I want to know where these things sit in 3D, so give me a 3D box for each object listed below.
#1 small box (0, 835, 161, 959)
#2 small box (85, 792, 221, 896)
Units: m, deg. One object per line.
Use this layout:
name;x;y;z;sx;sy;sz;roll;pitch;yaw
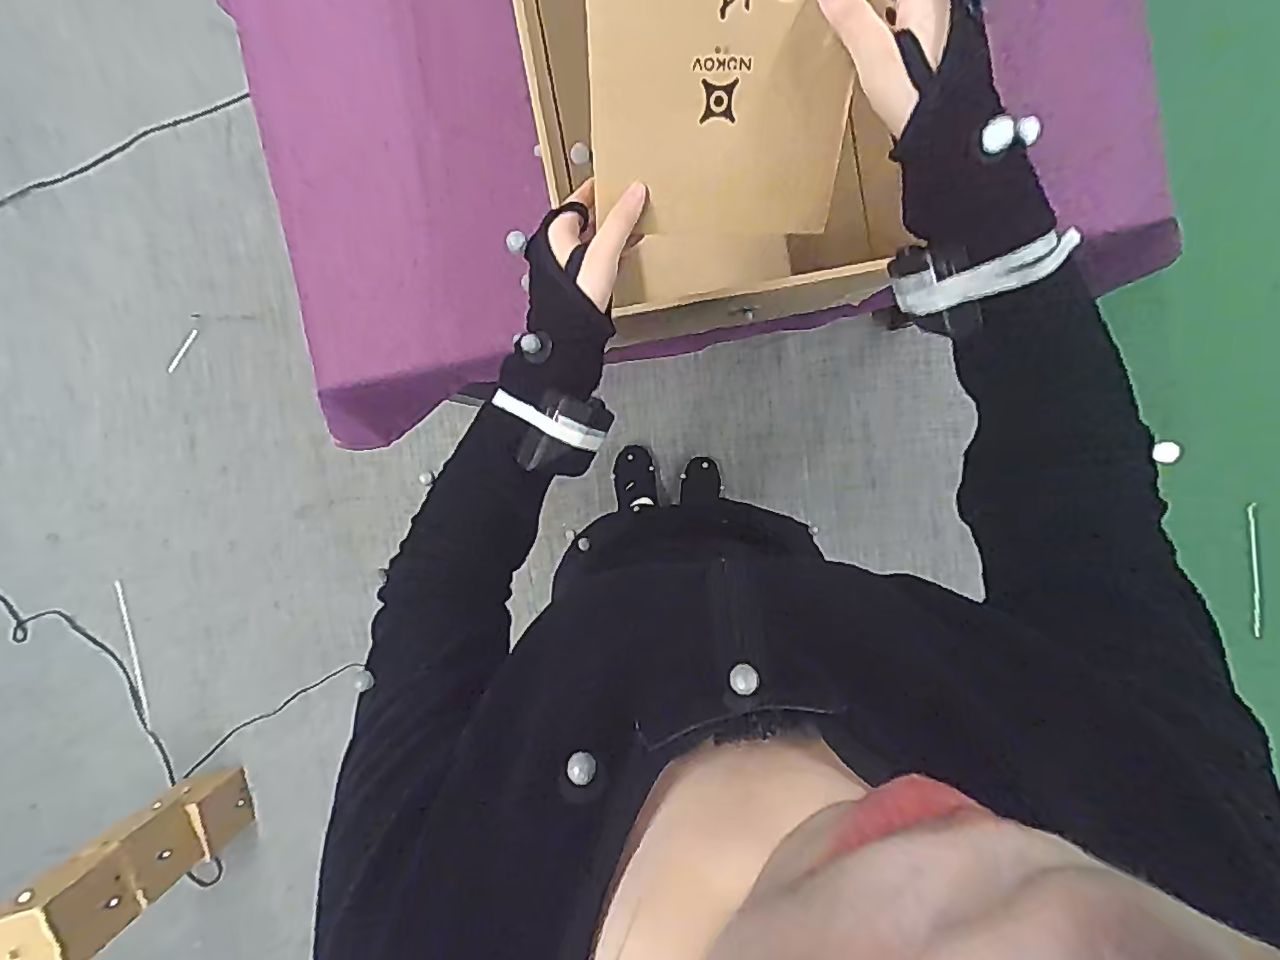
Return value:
small box;-1.263;0.956;1.229;0.179;0.176;0.168;-18;93;3
small box;-1.241;0.940;1.390;0.168;0.176;0.179;-21;94;4
